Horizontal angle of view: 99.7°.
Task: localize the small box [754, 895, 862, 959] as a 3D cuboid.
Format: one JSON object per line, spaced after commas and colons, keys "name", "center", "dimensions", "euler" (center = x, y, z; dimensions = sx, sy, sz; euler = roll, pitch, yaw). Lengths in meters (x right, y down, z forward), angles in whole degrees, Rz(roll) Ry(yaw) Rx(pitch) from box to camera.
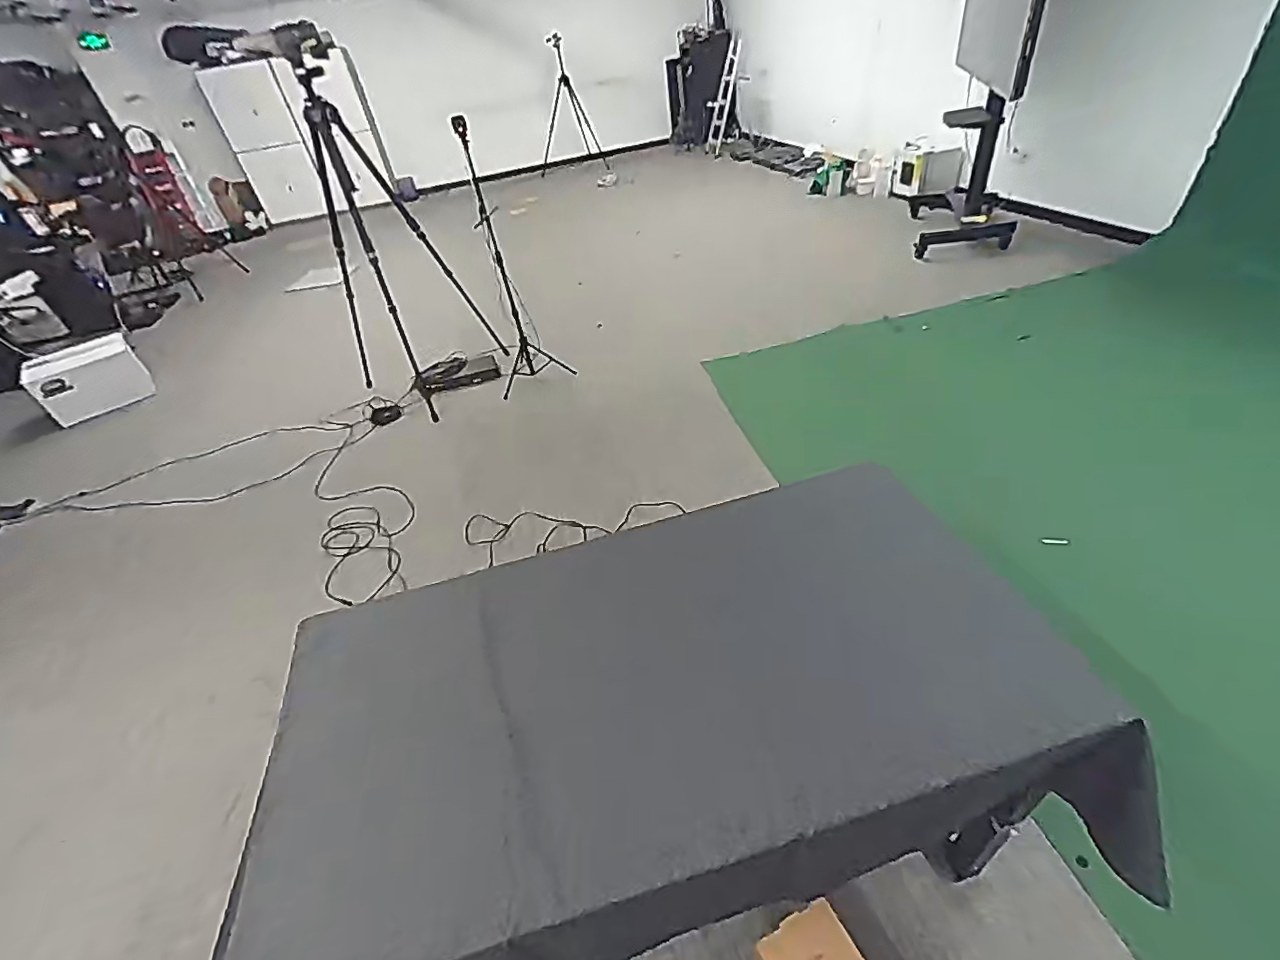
{"name": "small box", "center": [0.334, 0.954, 1.034], "dimensions": [0.168, 0.176, 0.179], "euler": [-23, 41, -15]}
